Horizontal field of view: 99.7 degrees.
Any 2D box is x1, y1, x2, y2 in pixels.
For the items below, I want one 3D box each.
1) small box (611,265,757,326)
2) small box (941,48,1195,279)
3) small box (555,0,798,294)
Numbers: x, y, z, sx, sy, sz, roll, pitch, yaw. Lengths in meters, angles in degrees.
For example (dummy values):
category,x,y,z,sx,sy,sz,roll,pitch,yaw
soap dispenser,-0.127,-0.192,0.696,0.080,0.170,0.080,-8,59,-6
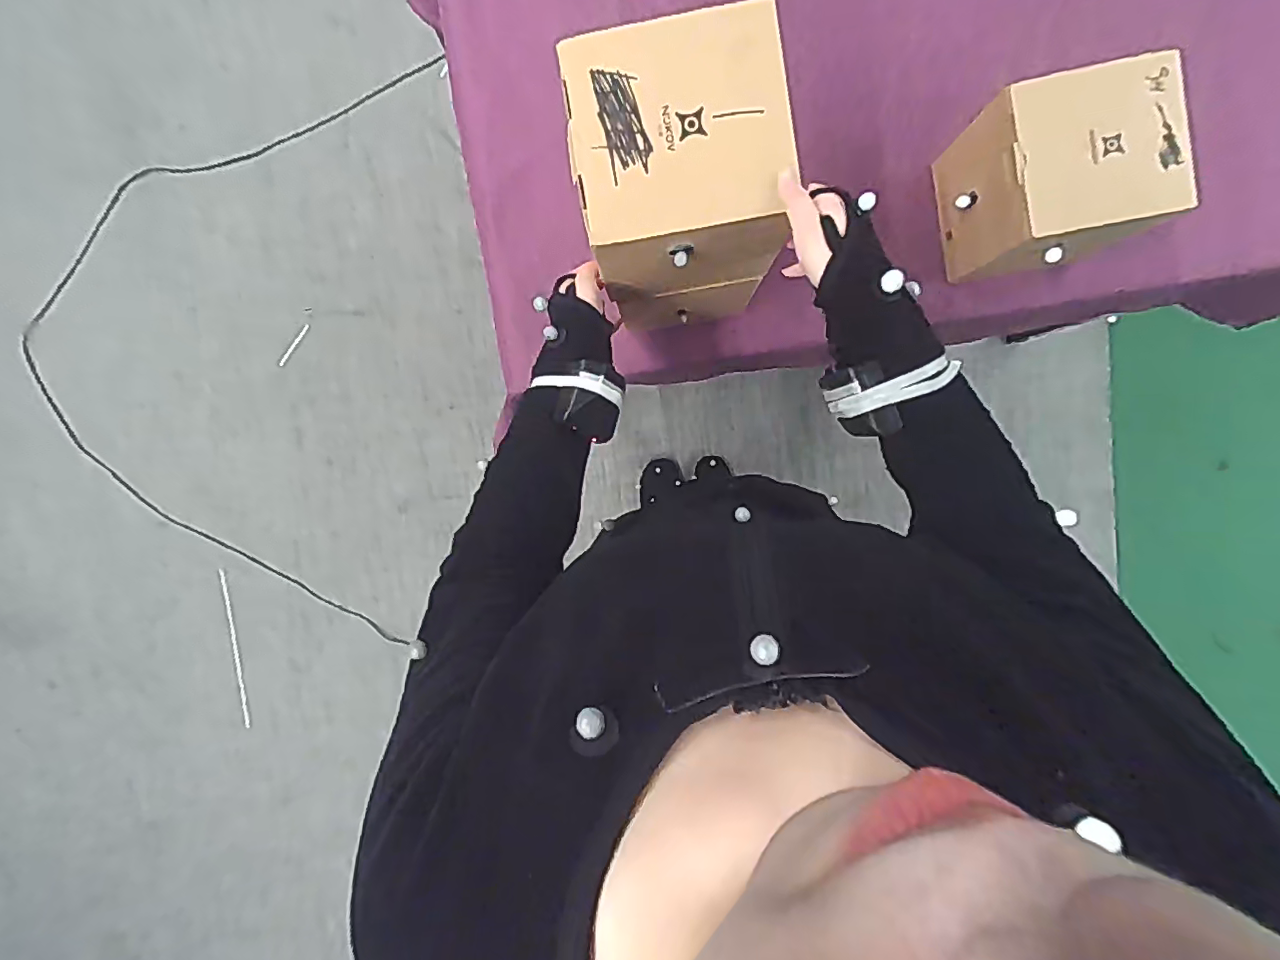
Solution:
category,x,y,z,sx,sy,sz,roll,pitch,yaw
small box,0.043,-0.299,0.672,0.168,0.176,0.179,-8,93,3
small box,0.485,-0.356,0.645,0.179,0.176,0.168,-9,93,4
small box,0.033,-0.288,0.508,0.179,0.176,0.168,-9,93,3
